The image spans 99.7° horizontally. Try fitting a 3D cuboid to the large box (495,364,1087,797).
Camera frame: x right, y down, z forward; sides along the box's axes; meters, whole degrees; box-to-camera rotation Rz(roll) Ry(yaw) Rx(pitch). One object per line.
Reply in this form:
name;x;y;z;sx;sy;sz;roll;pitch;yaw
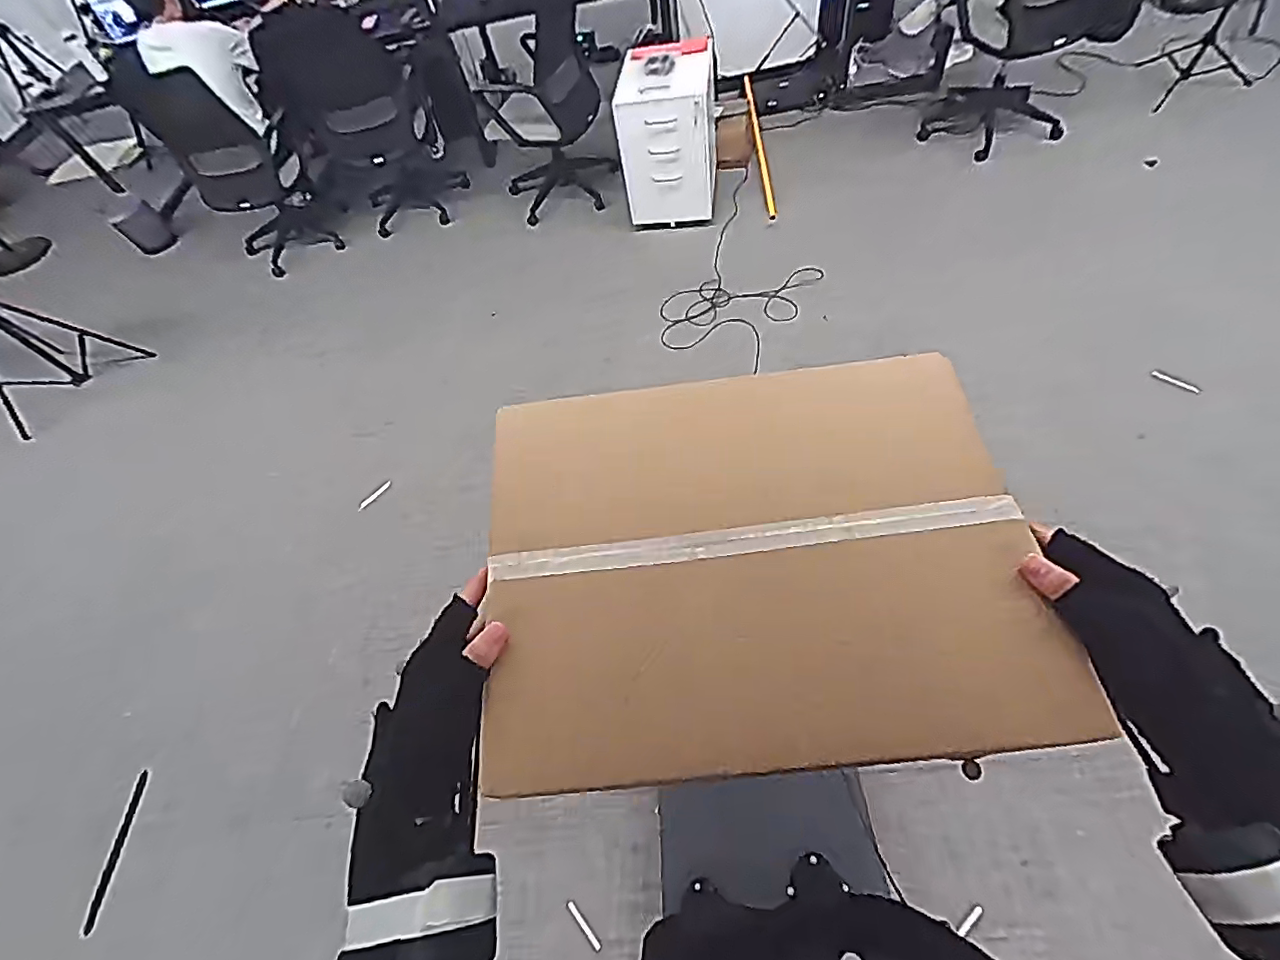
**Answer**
large box;0.099;0.121;0.558;0.408;0.320;0.320;-7;61;3
